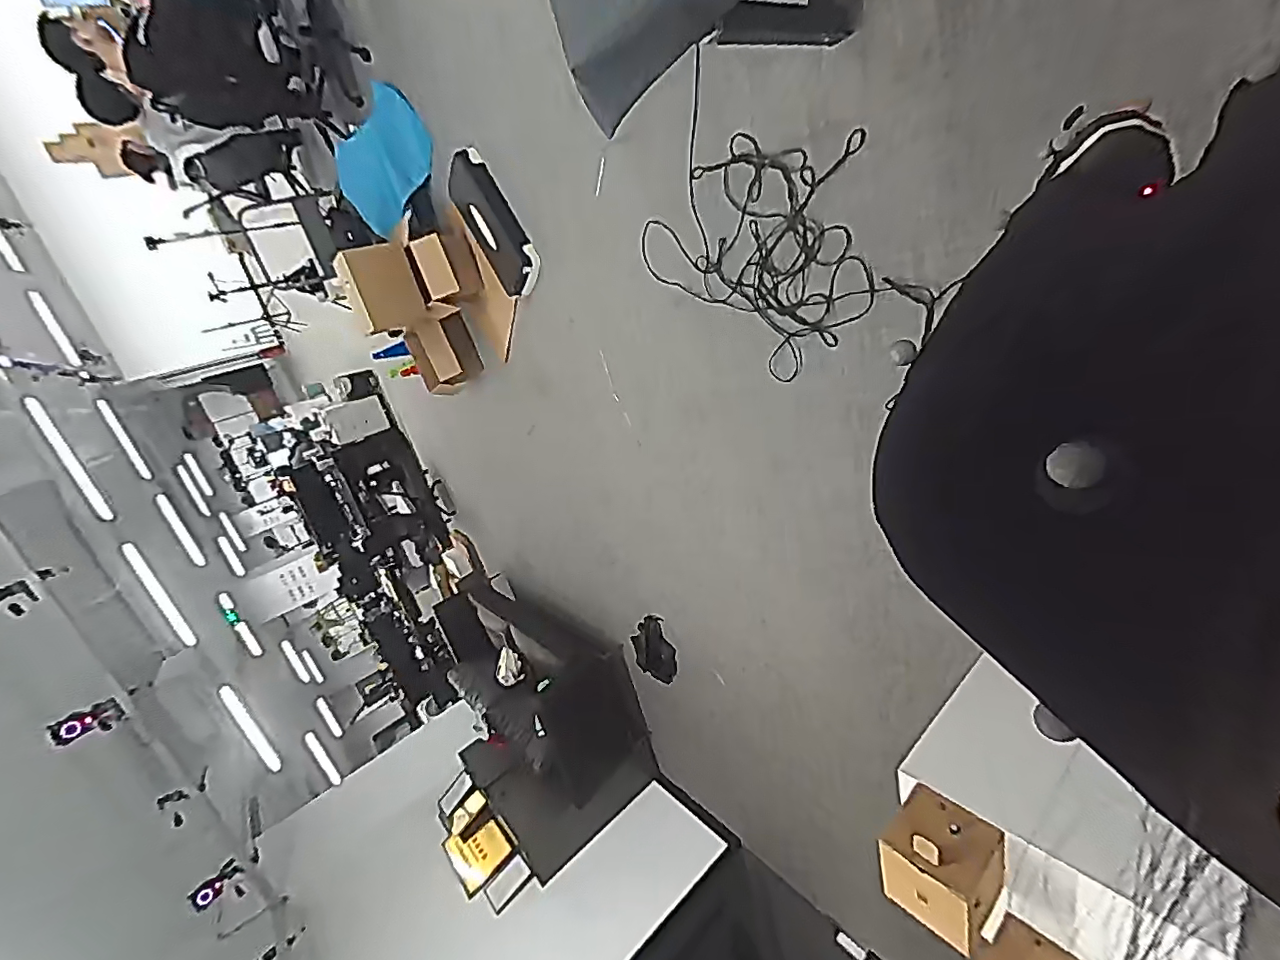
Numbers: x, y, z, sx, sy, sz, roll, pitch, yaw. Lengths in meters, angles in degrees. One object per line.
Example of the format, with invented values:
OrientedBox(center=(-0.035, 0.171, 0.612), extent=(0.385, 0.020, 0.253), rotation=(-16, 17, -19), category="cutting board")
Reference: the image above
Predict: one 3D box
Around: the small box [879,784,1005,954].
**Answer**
OrientedBox(center=(0.602, 0.759, 1.073), extent=(0.168, 0.176, 0.179), rotation=(14, 126, 51), category="small box")
